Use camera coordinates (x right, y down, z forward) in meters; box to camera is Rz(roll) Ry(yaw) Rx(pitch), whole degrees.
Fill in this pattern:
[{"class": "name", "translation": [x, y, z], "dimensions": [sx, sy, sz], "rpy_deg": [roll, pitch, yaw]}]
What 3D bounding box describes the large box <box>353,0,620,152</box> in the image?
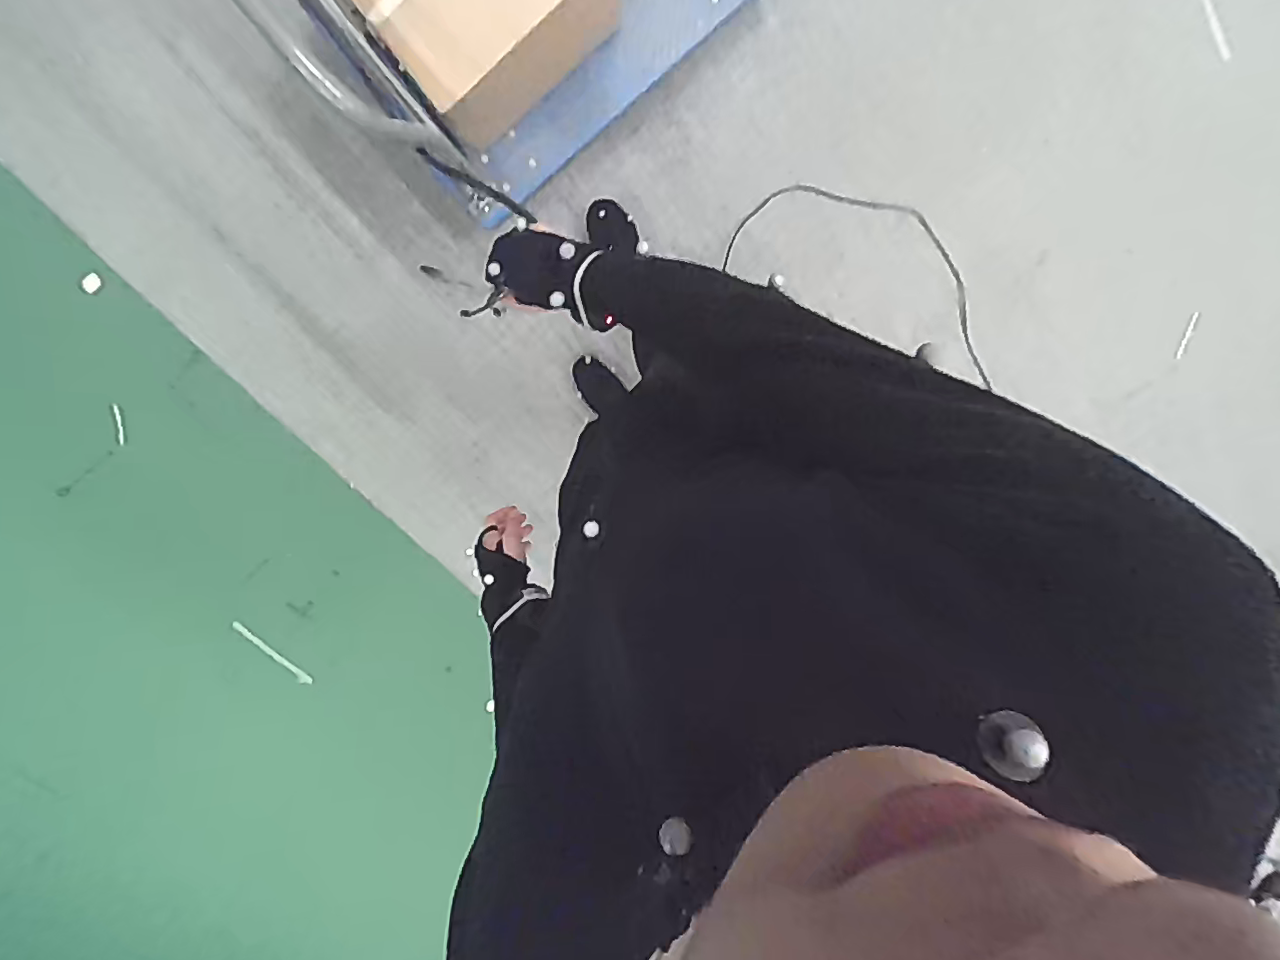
[{"class": "large box", "translation": [-0.277, -0.887, 0.961], "dimensions": [0.408, 0.320, 0.320], "rpy_deg": [-37, 109, 9]}]
